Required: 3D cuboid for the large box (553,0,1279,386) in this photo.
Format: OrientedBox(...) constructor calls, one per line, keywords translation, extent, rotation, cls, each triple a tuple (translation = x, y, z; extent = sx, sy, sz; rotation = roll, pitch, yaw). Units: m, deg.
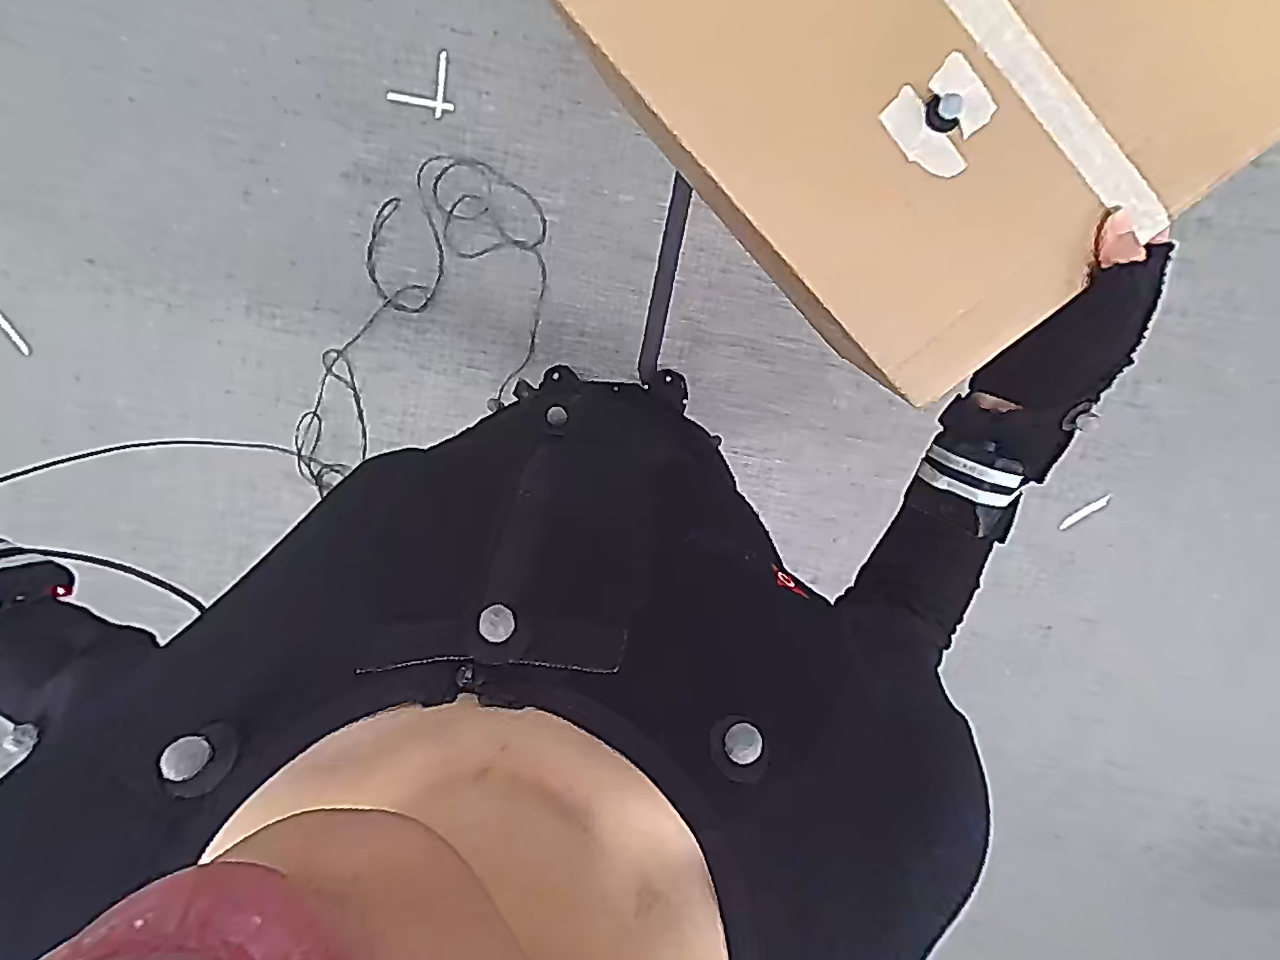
OrientedBox(translation=(0.193, -0.347, 0.449), extent=(0.408, 0.320, 0.320), rotation=(45, 112, -7), cls="large box")
